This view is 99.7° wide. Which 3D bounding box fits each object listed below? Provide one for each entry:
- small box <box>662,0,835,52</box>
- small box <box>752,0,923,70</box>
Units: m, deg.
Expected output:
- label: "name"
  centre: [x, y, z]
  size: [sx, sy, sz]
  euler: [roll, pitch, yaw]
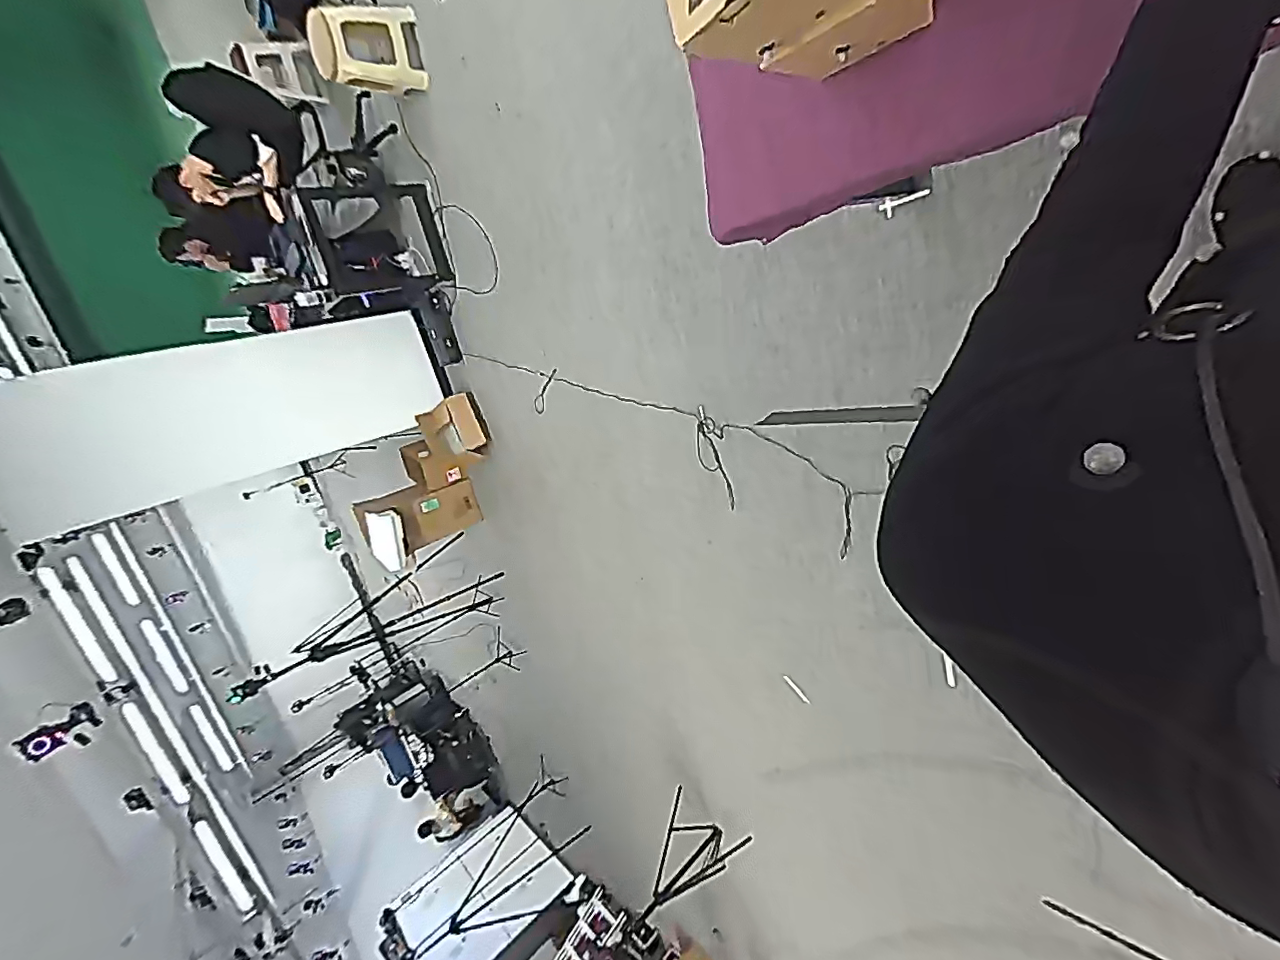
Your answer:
- label: "small box"
  centre: [0.128, -0.619, 0.606]
  size: [0.168, 0.176, 0.179]
  euler: [2, 112, 50]
- label: "small box"
  centre: [0.251, -0.668, 0.704]
  size: [0.168, 0.176, 0.179]
  euler: [8, 117, 48]
